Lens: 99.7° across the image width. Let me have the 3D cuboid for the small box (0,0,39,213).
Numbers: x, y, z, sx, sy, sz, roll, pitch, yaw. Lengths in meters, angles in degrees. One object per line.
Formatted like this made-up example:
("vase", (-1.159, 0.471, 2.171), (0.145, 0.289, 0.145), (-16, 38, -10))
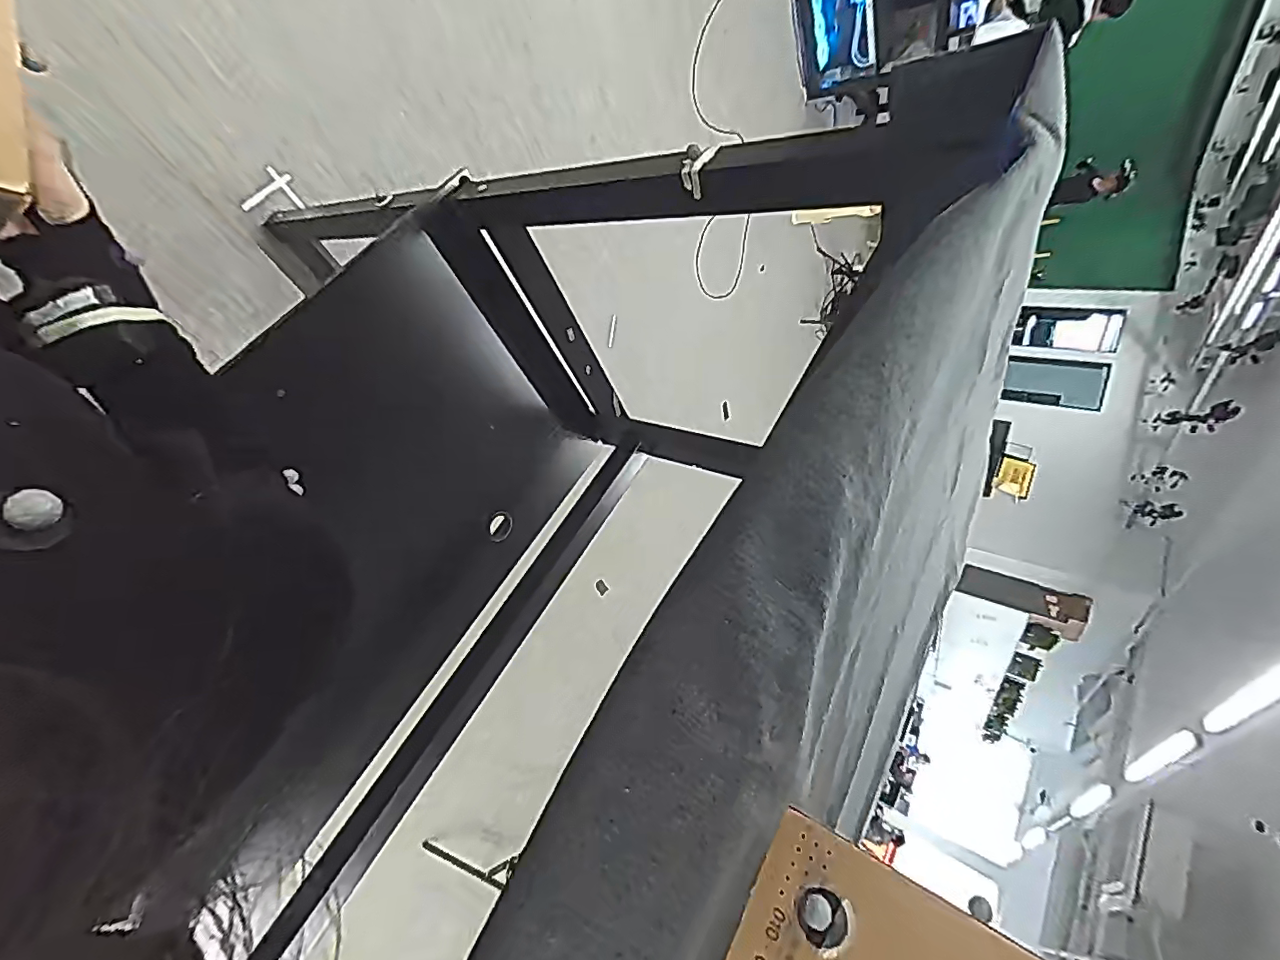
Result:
("small box", (-0.403, -0.224, 0.234), (0.168, 0.176, 0.179), (-9, 103, -56))

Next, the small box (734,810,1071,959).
("small box", (0.130, 0.293, 0.261), (0.168, 0.176, 0.179), (-57, 144, -22))
